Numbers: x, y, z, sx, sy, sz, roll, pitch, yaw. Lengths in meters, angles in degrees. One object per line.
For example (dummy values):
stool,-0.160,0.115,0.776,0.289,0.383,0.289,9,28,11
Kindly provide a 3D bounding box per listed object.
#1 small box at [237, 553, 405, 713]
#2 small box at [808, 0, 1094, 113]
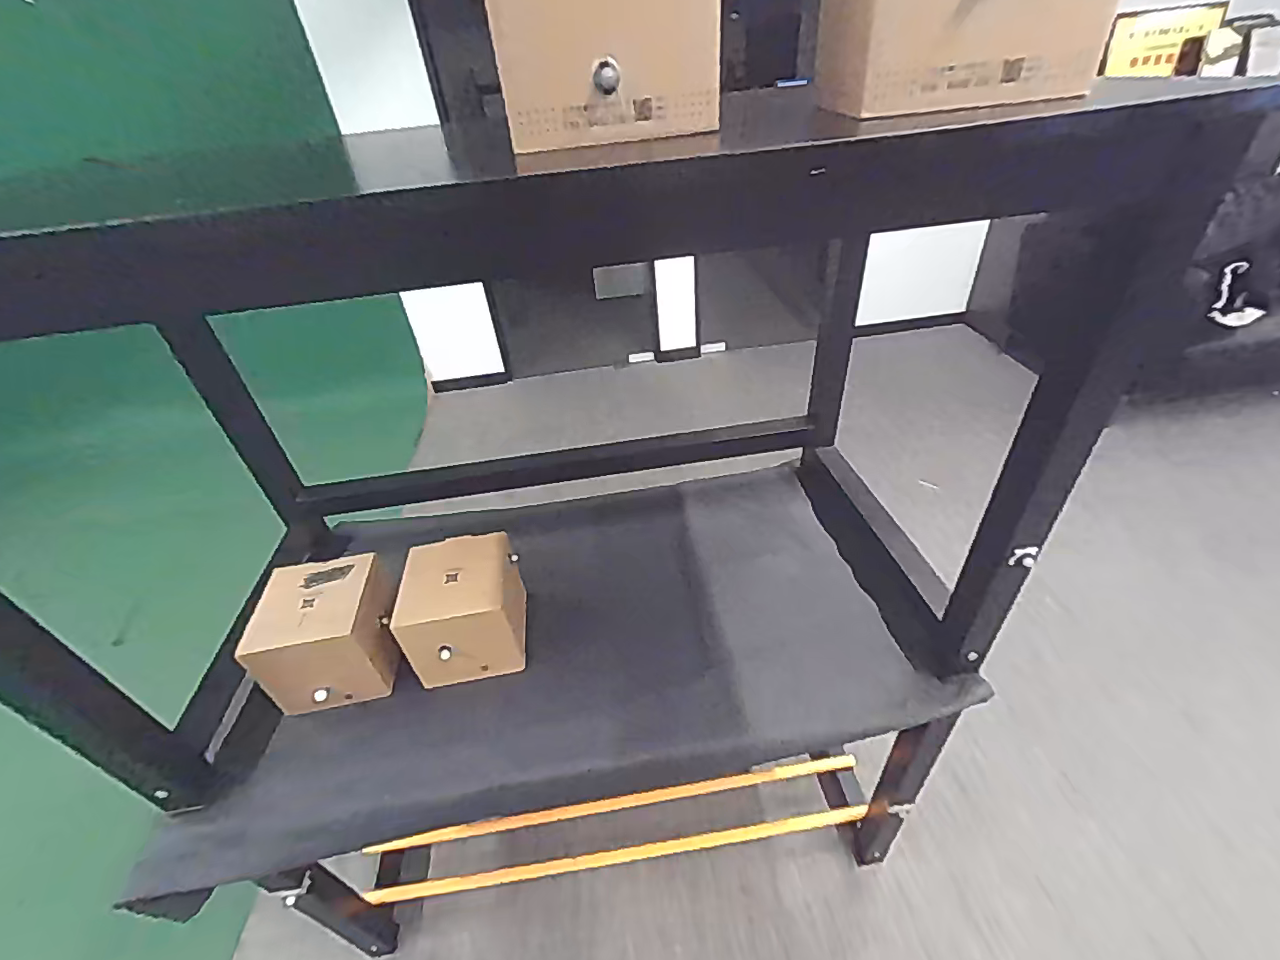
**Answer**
small box,-0.507,0.250,0.895,0.168,0.176,0.179,-10,38,-5
small box,0.235,-0.396,0.422,0.168,0.176,0.179,-2,37,5
